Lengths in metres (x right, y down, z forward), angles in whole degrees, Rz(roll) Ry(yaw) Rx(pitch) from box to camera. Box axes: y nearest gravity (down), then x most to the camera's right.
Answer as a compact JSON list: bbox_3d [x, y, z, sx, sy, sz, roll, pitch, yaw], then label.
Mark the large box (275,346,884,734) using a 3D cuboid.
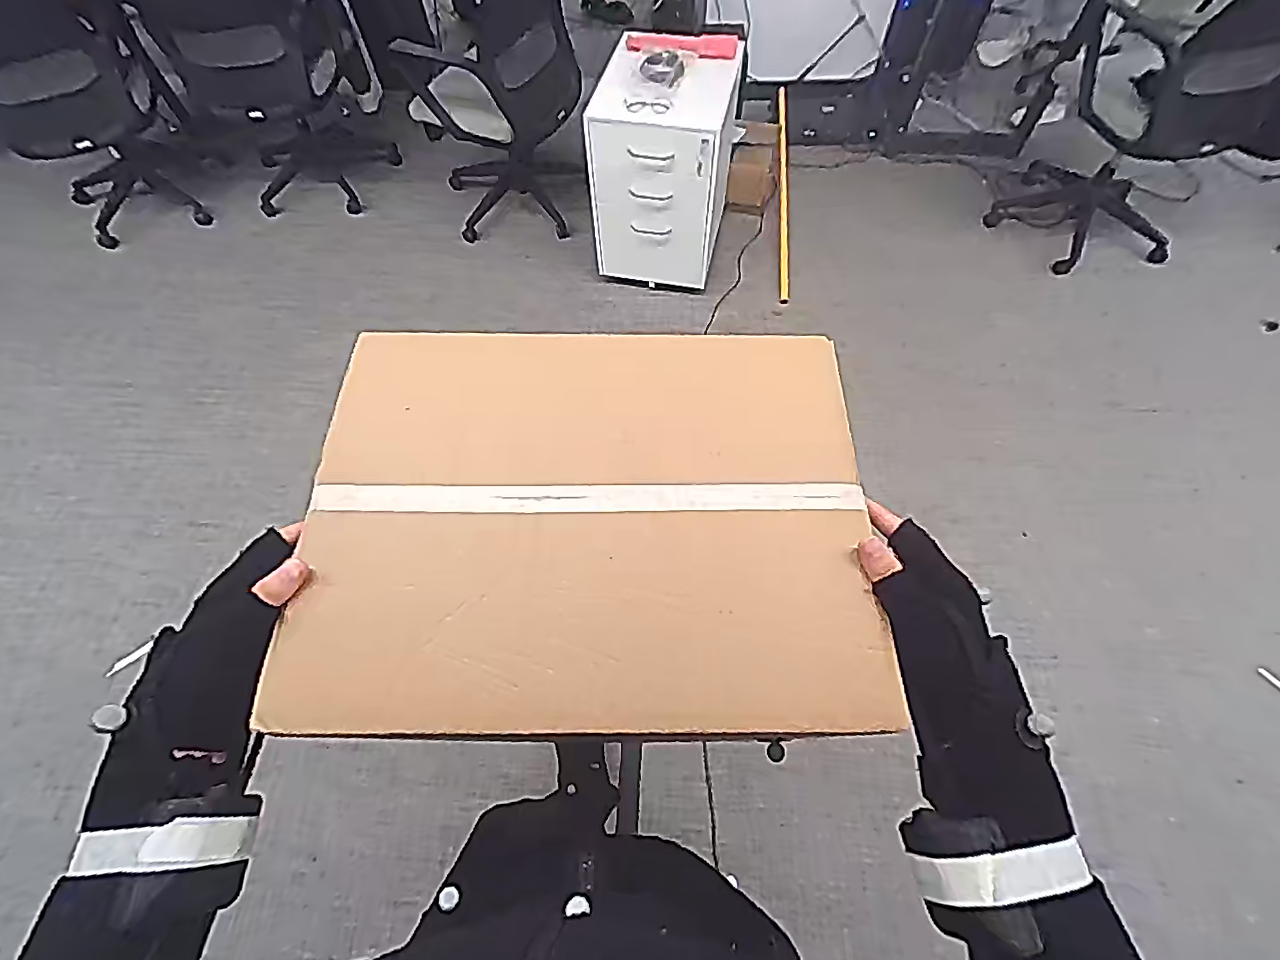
[{"bbox_3d":[-0.039,0.084,0.547,0.408,0.320,0.320,1,63,-1],"label":"large box"}]
